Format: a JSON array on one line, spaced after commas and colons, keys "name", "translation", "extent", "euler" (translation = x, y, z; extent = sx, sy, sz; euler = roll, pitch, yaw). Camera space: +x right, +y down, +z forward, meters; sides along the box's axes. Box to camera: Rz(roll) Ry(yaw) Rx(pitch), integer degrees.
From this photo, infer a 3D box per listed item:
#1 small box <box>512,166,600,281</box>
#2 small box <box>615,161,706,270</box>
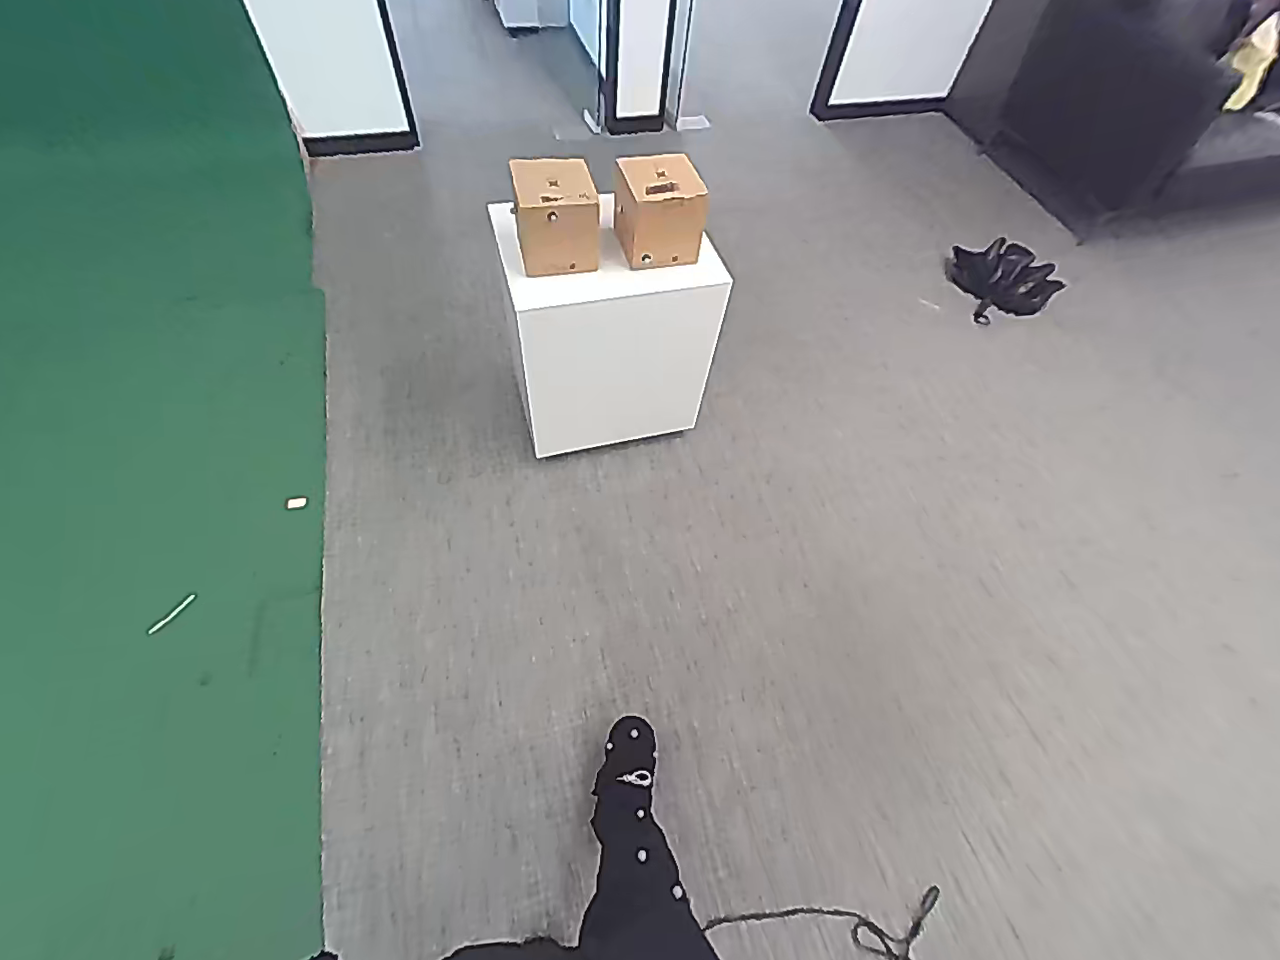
[{"name": "small box", "translation": [-0.187, -0.574, 1.214], "extent": [0.168, 0.176, 0.179], "euler": [-10, 58, -11]}, {"name": "small box", "translation": [0.041, -0.607, 1.256], "extent": [0.168, 0.176, 0.179], "euler": [-11, 58, -12]}]
